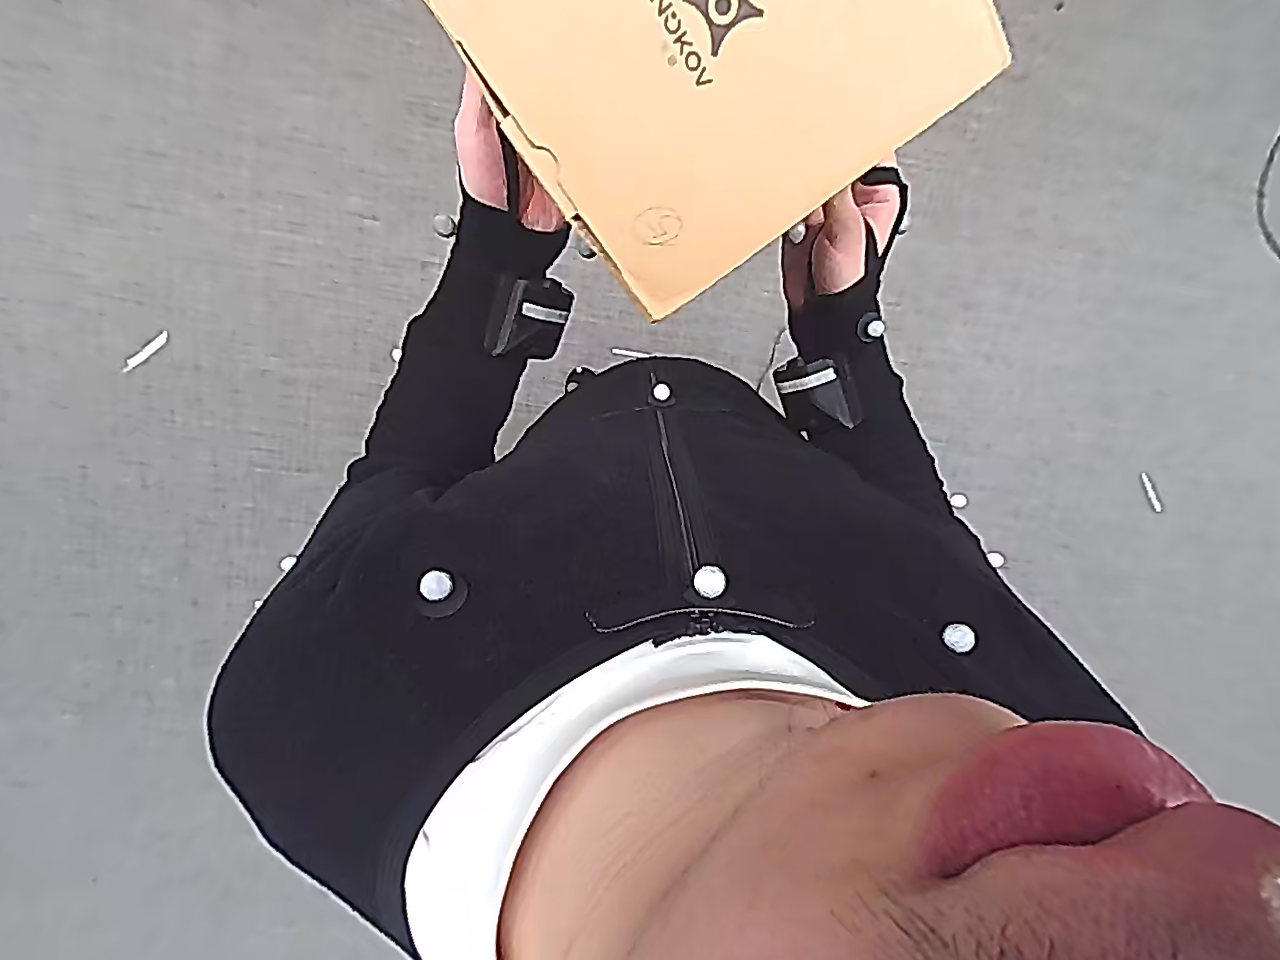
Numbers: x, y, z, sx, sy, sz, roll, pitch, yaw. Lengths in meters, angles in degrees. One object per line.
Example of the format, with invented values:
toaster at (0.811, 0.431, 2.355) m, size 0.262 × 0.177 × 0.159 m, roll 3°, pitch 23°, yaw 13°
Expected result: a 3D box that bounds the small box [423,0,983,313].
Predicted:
small box at (0.026, -0.219, 0.289) m, size 0.179 × 0.176 × 0.168 m, roll -34°, pitch 113°, yaw 14°
